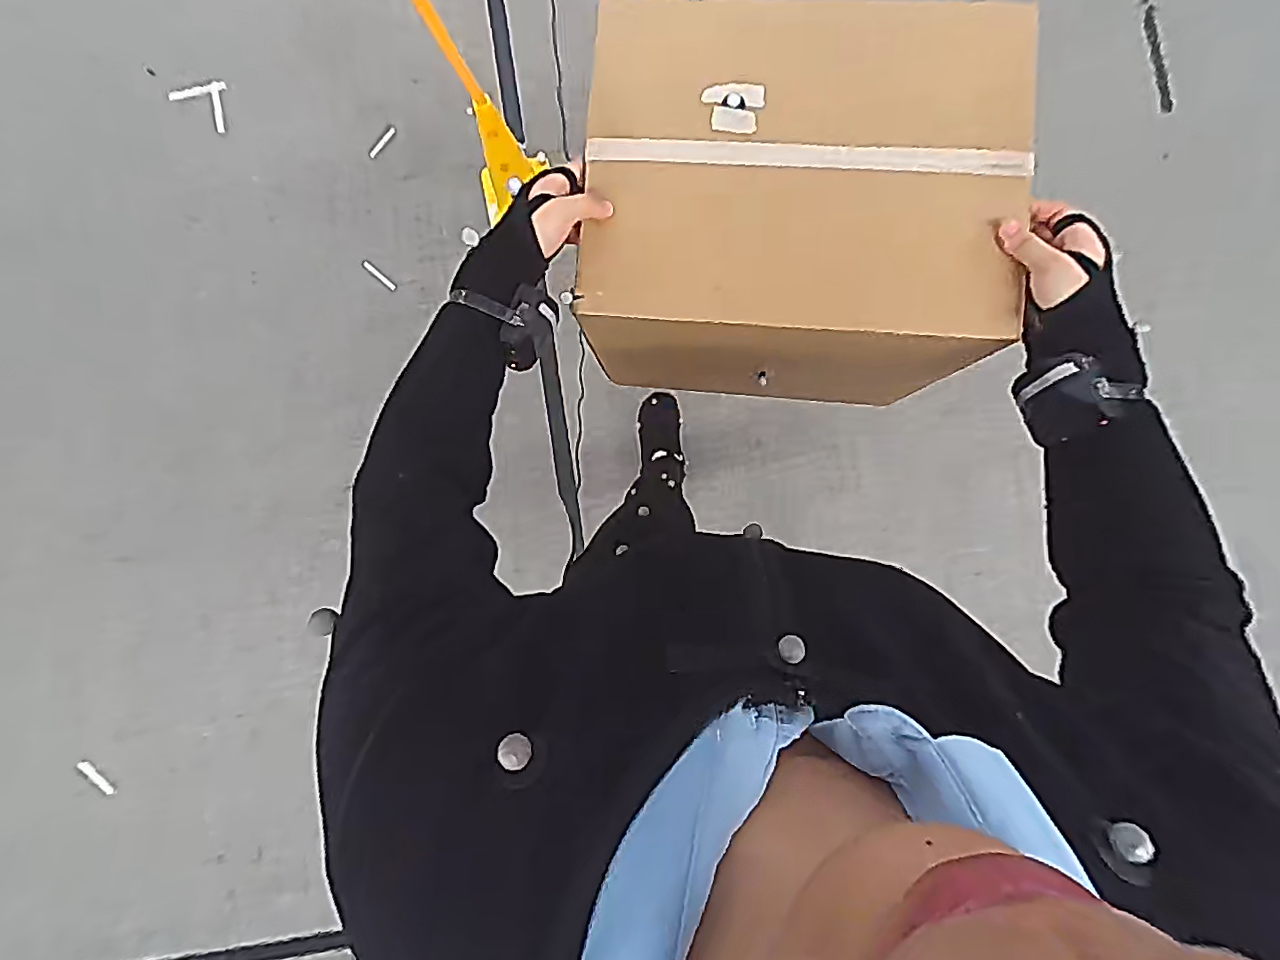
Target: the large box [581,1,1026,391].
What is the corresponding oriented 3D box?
[{"bbox_3d":[0.166,-0.295,0.659,0.408,0.320,0.320,5,86,6],"label":"large box"}]
